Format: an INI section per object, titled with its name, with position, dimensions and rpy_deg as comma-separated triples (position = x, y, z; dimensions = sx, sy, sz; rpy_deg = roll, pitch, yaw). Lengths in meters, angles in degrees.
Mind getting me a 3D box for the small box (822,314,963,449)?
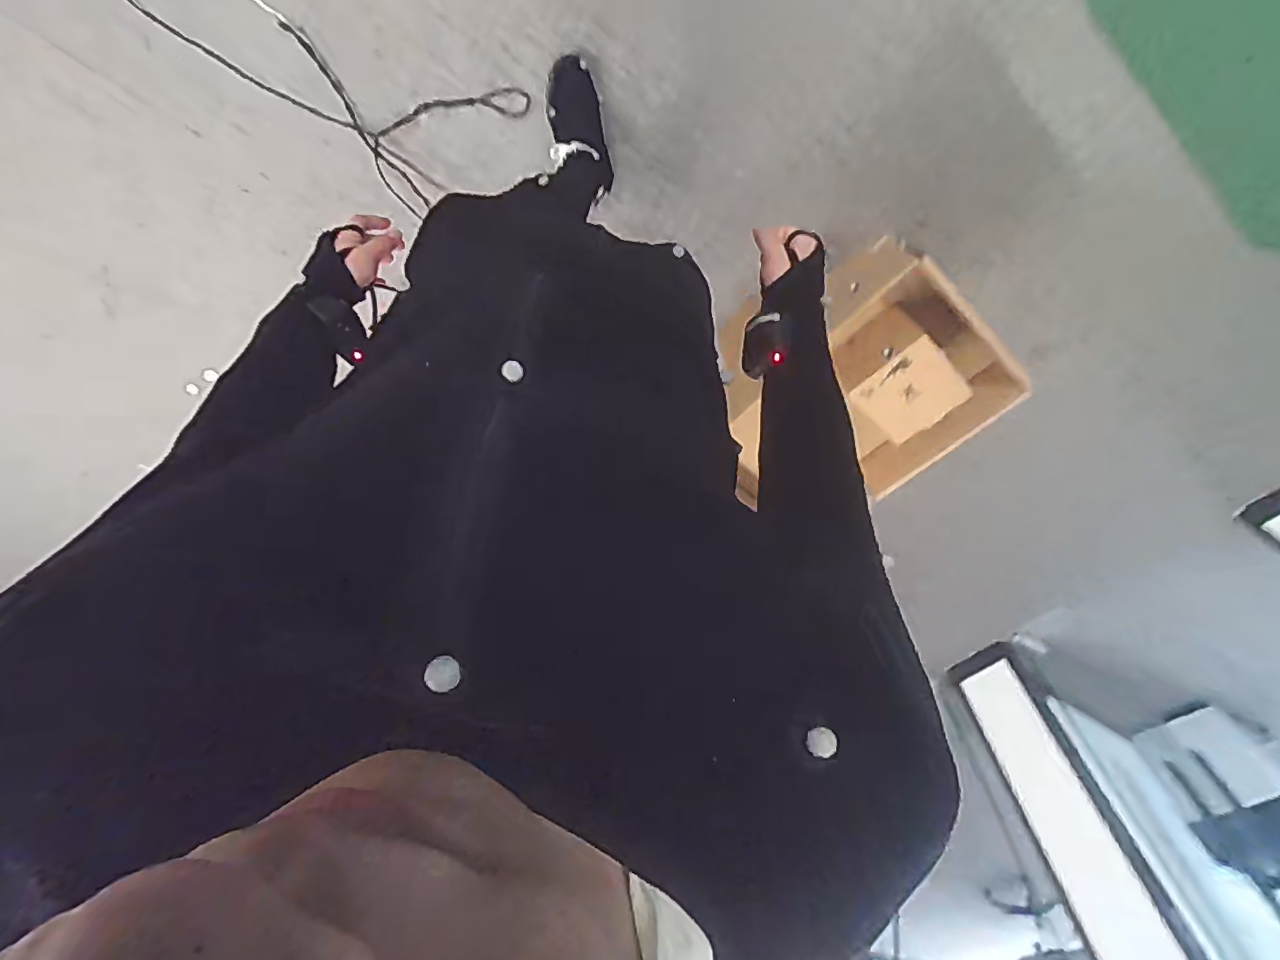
[small box]
position = 0.500, -0.202, 1.089
dimensions = 0.179, 0.176, 0.168
rpy_deg = 37, 119, -24
